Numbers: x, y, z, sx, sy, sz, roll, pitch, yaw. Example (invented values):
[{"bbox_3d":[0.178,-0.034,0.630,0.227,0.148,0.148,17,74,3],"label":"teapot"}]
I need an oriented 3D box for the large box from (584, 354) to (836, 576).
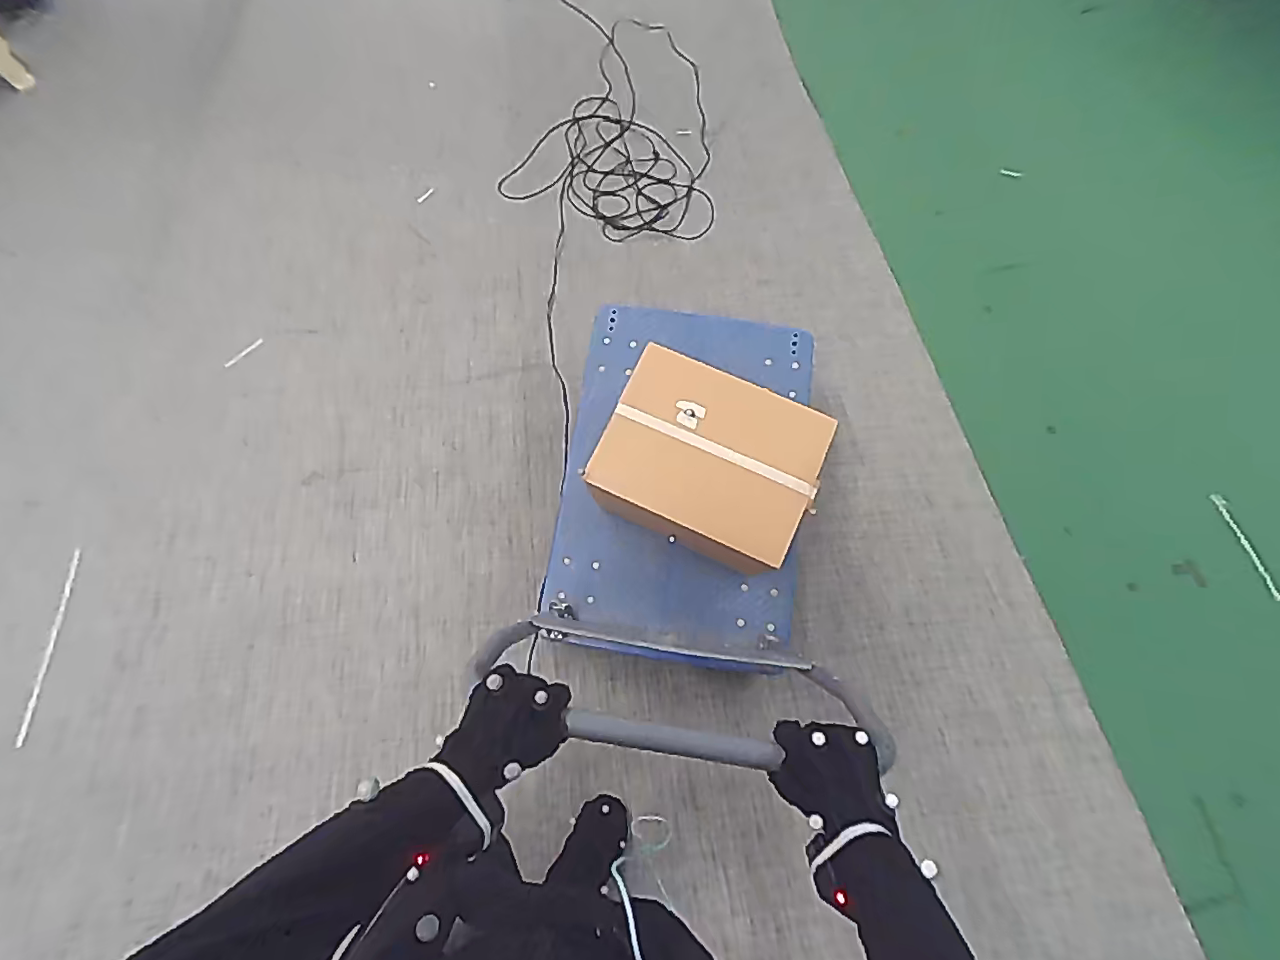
[{"bbox_3d":[0.144,-0.012,1.170,0.408,0.320,0.320,23,79,8],"label":"large box"}]
